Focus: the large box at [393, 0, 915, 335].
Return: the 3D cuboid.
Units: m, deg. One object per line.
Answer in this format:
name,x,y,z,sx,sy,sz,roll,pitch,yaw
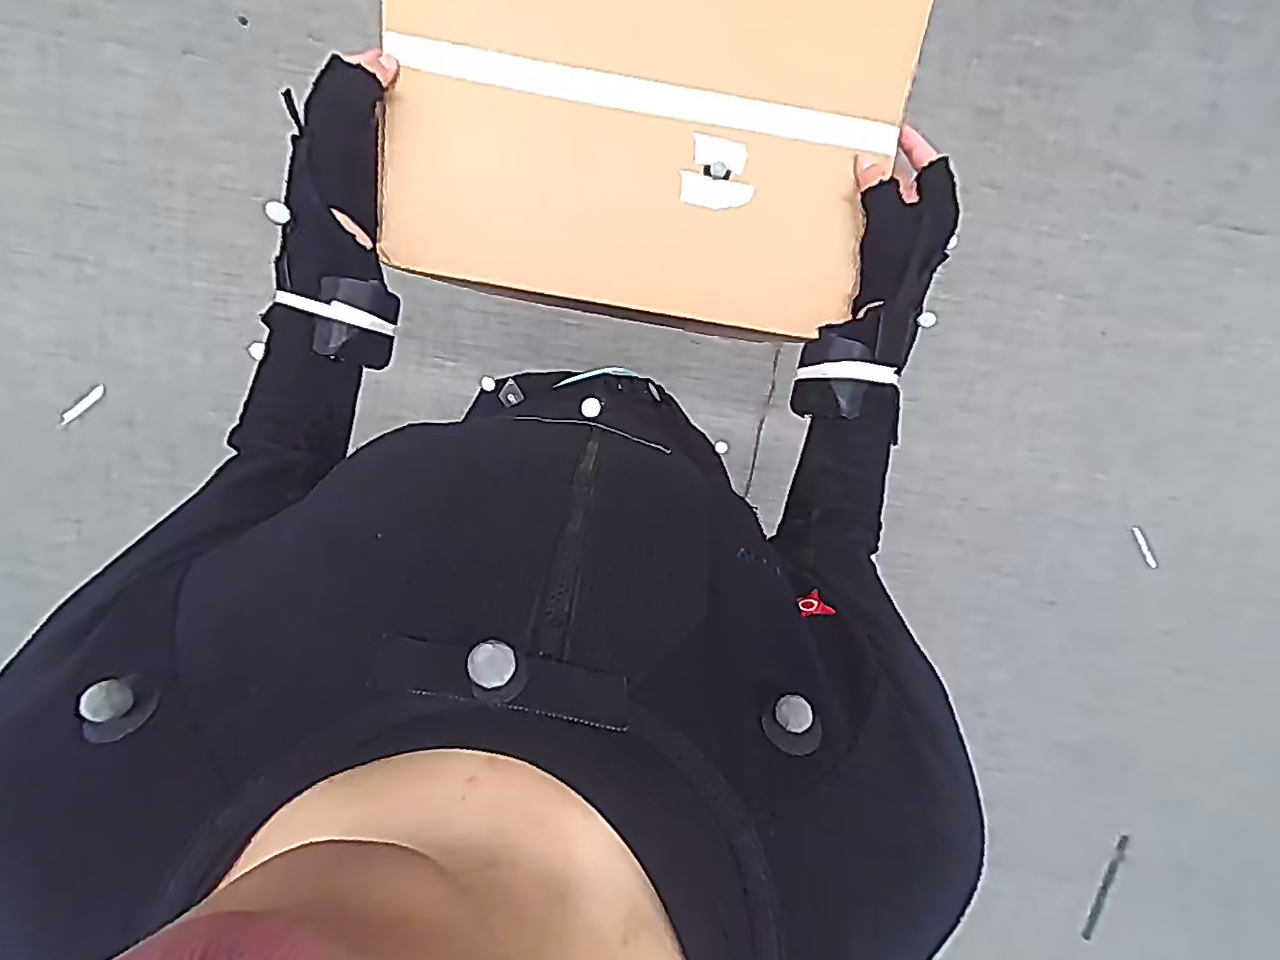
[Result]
large box,0.001,-0.343,0.582,0.408,0.320,0.320,9,105,-3
